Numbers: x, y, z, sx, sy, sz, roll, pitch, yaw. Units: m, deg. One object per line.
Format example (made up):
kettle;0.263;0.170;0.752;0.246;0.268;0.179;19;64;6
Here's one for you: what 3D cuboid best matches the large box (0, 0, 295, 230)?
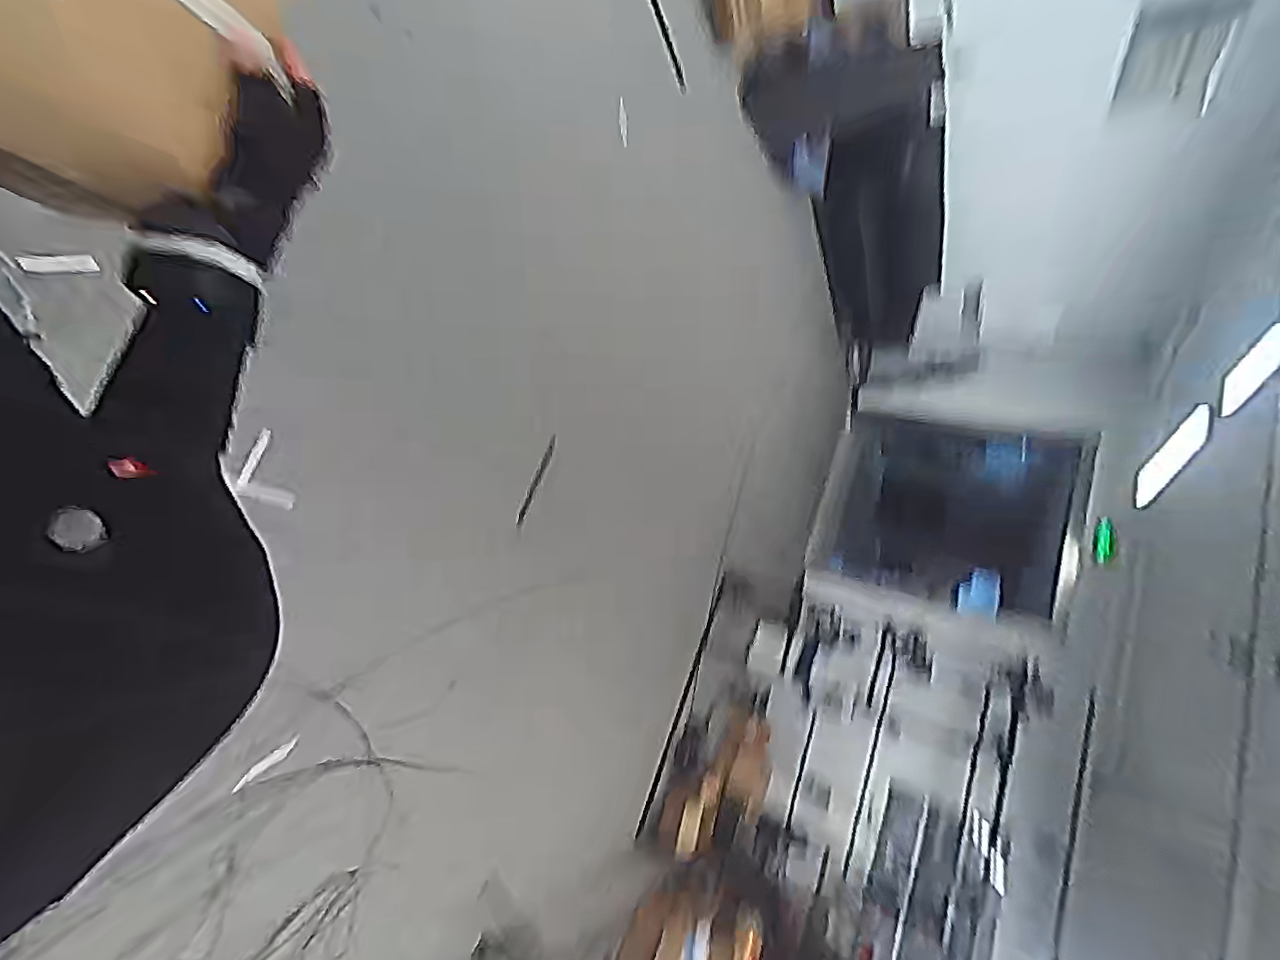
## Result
large box;-0.515;-0.419;0.338;0.408;0.320;0.320;23;88;-61
